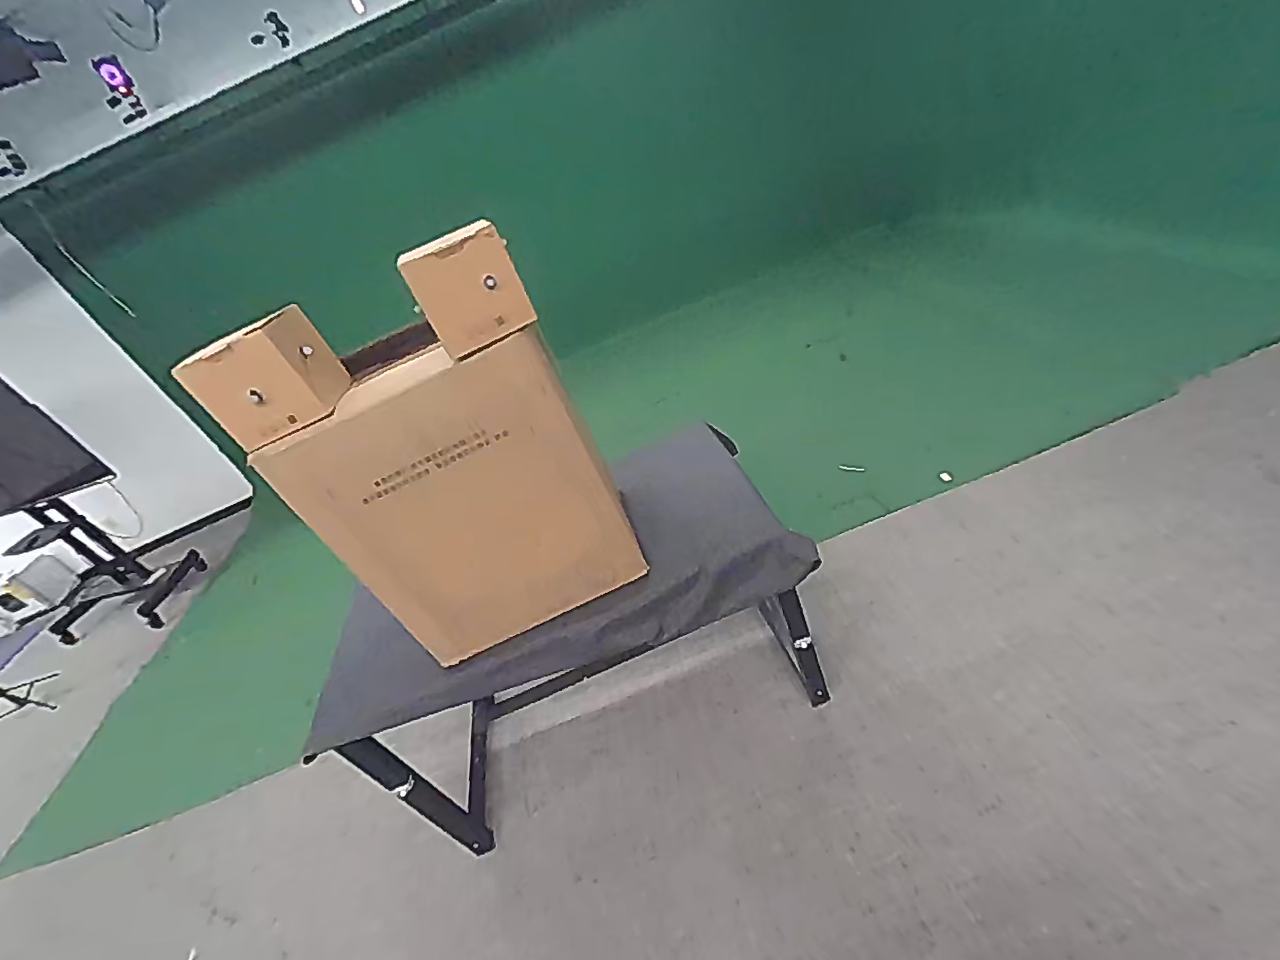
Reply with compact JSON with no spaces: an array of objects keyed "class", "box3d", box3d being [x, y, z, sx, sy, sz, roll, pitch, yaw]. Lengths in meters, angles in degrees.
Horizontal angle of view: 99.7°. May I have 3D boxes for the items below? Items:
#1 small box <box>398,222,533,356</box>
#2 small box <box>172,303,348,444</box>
[{"class":"small box","box3d":[-0.305,-0.337,0.958,0.168,0.176,0.179,-27,32,-8]},{"class":"small box","box3d":[-0.659,-0.186,0.968,0.168,0.176,0.179,-25,34,1]}]
